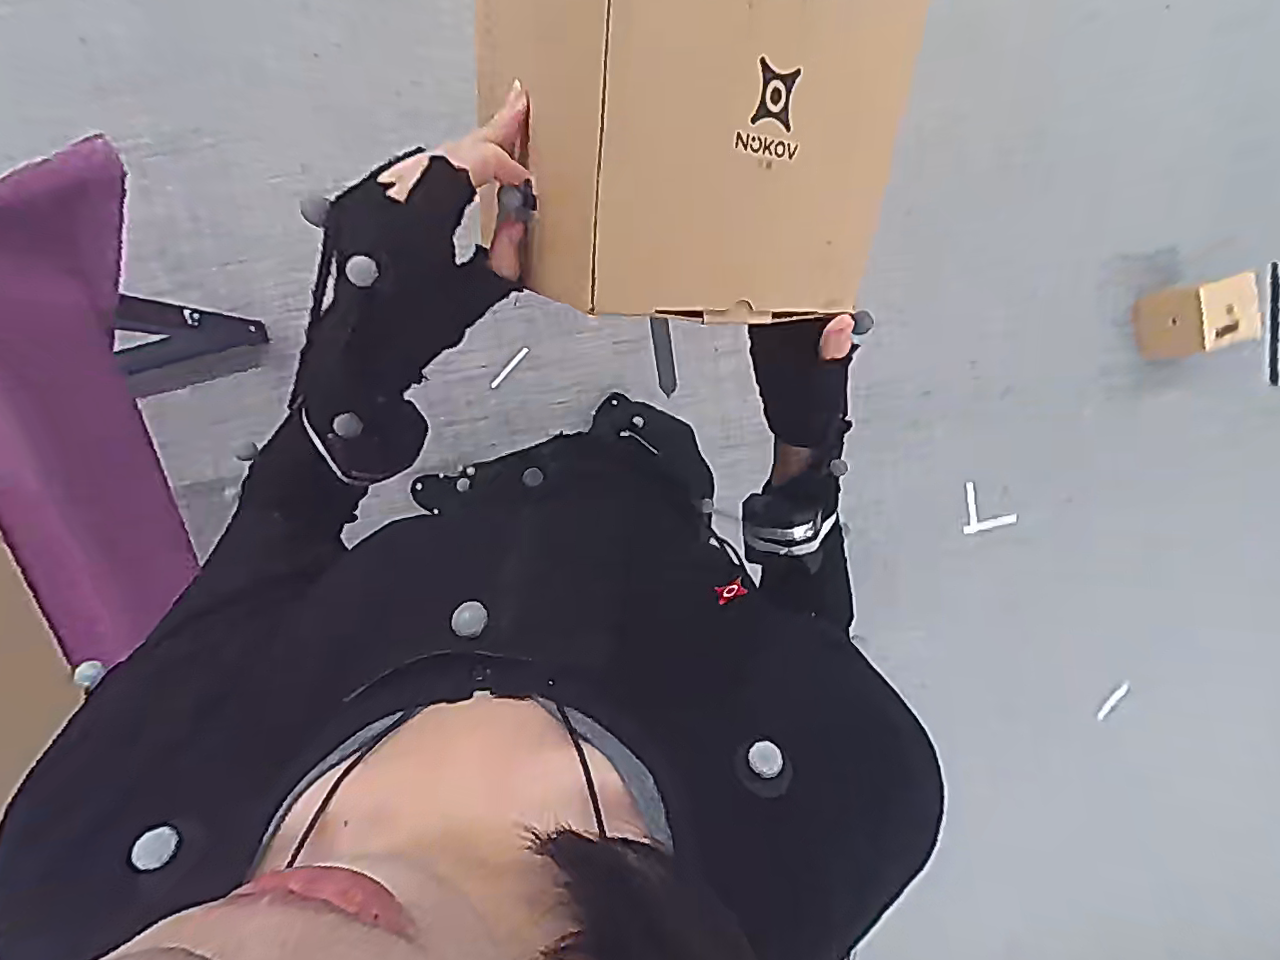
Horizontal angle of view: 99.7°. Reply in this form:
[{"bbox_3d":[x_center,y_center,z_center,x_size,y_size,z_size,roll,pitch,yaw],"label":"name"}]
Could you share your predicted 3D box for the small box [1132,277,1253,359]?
[{"bbox_3d":[1.536,-0.443,1.512,0.168,0.176,0.179,-17,99,-3],"label":"small box"}]
